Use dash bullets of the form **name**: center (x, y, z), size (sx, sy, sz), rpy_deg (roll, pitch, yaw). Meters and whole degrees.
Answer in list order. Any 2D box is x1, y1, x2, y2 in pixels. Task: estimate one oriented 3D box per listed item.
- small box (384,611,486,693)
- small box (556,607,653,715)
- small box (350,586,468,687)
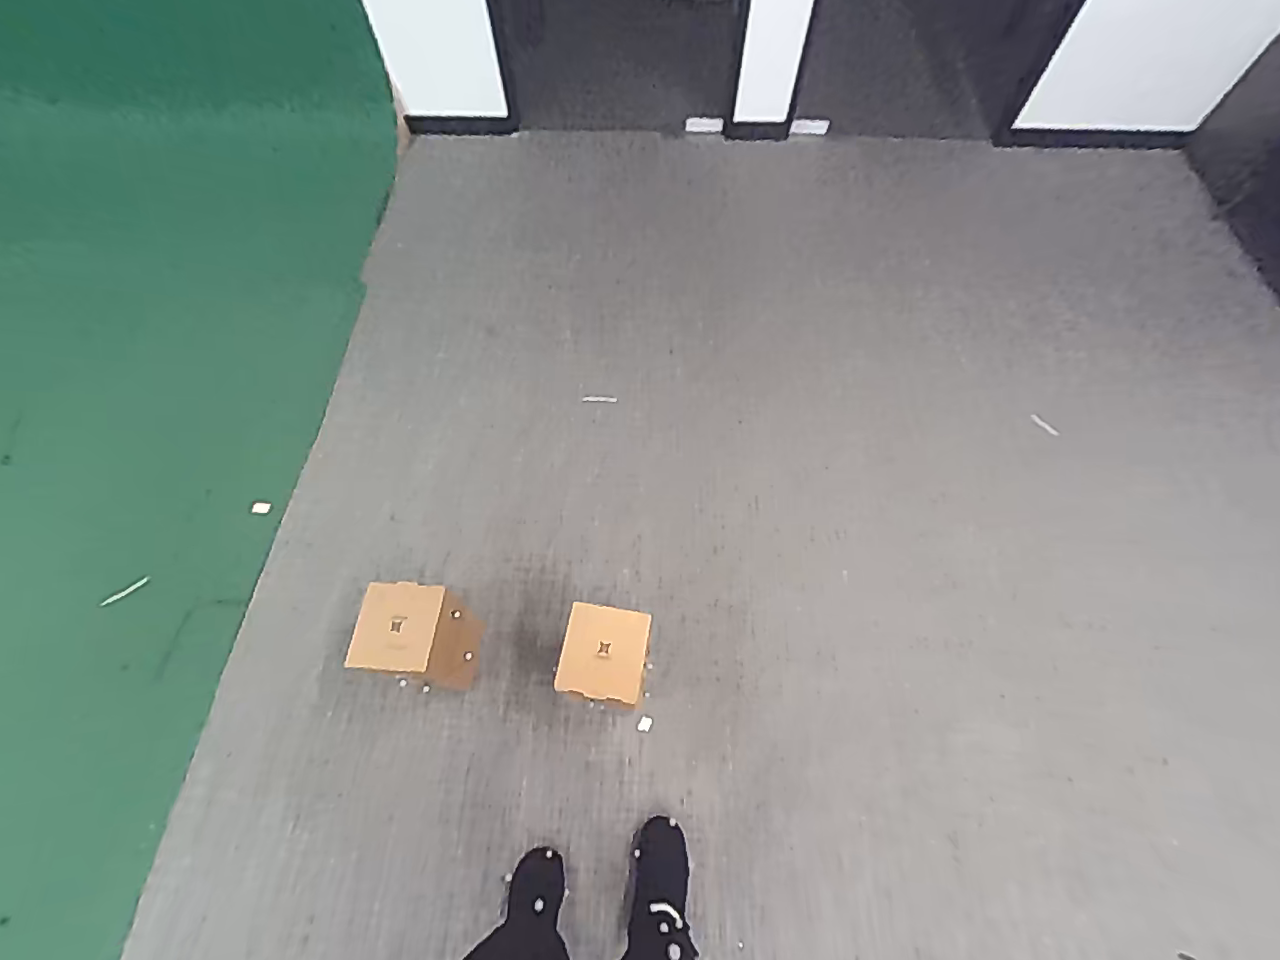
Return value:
- **small box**: center (-0.488, 0.414, 1.315), size (0.168, 0.176, 0.179), rpy_deg (6, 64, 3)
- **small box**: center (-0.069, 0.388, 1.146), size (0.168, 0.176, 0.179), rpy_deg (9, 64, 5)
- **small box**: center (-0.485, 0.341, 1.169), size (0.168, 0.176, 0.179), rpy_deg (2, 63, 2)
